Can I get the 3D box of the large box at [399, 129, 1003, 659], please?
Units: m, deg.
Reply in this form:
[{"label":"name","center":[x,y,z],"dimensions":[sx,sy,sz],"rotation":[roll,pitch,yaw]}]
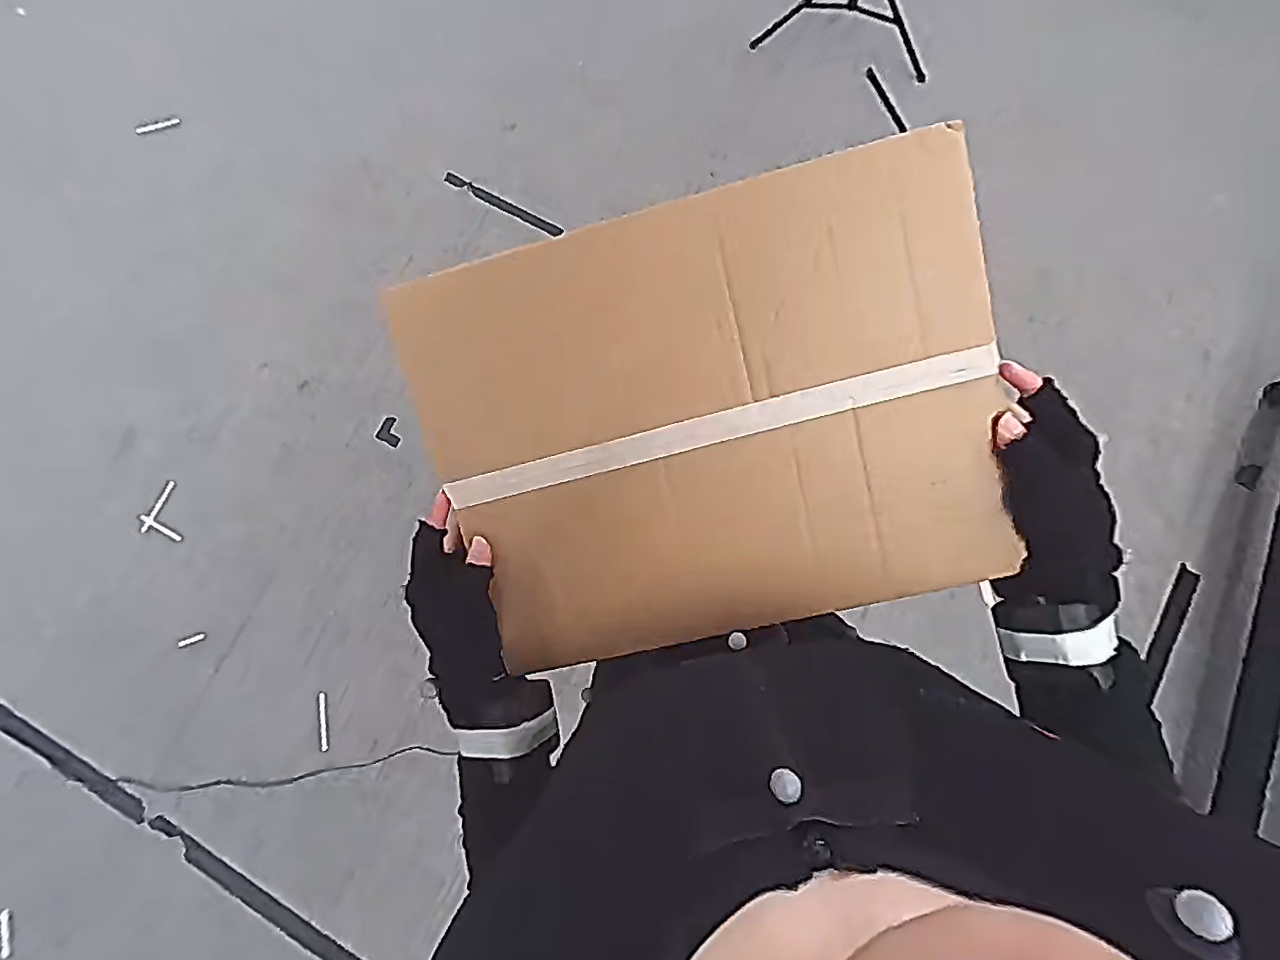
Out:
[{"label":"large box","center":[0.055,-0.068,0.549],"dimensions":[0.408,0.320,0.320],"rotation":[-13,101,6]}]
